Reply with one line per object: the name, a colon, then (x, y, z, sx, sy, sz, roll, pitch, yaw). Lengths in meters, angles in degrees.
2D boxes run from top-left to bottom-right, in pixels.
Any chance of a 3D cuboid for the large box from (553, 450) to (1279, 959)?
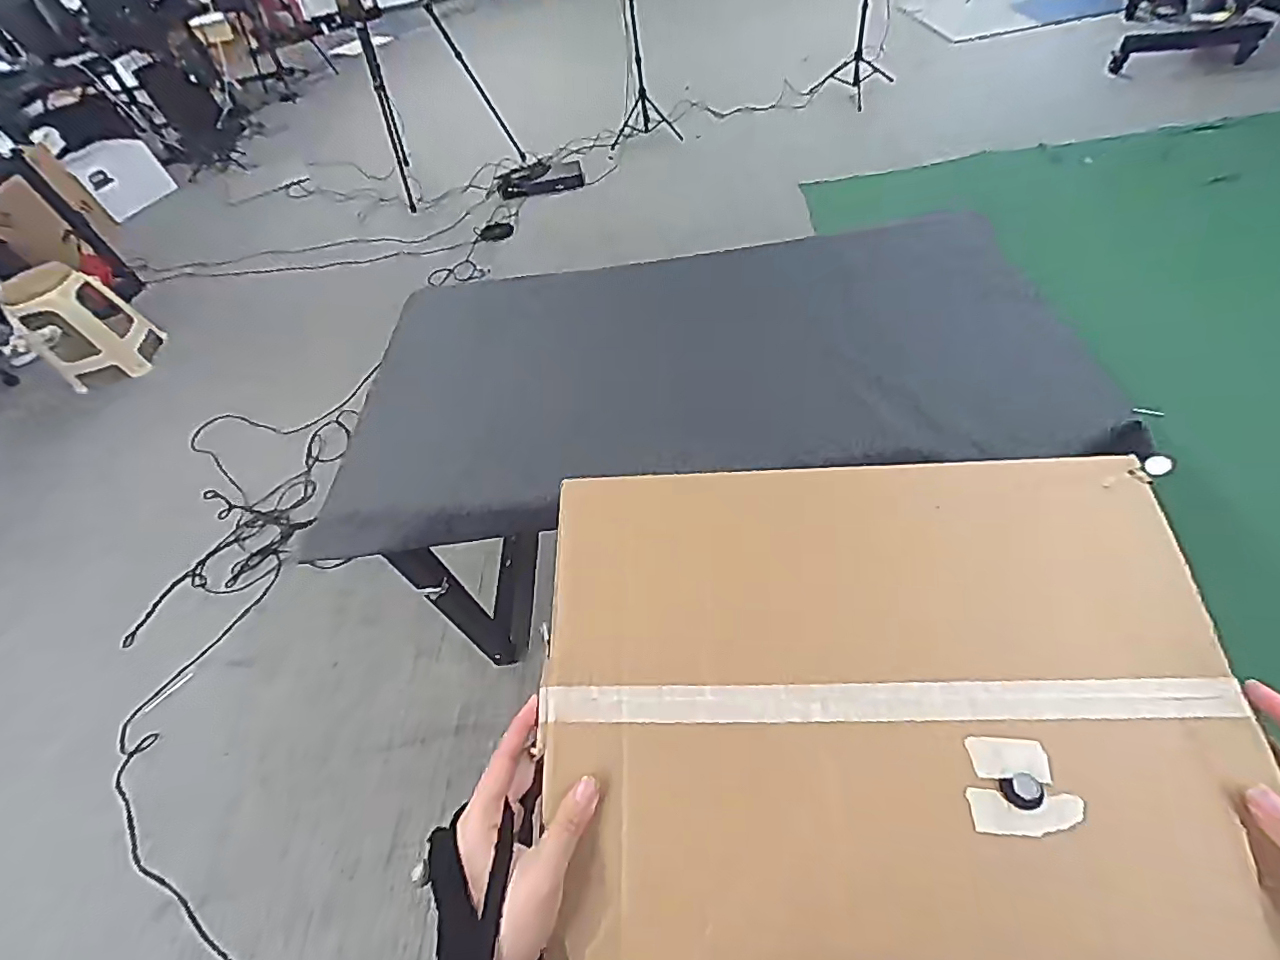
large box: (0.156, 0.188, 0.478, 0.408, 0.320, 0.320, -2, 66, 4)
